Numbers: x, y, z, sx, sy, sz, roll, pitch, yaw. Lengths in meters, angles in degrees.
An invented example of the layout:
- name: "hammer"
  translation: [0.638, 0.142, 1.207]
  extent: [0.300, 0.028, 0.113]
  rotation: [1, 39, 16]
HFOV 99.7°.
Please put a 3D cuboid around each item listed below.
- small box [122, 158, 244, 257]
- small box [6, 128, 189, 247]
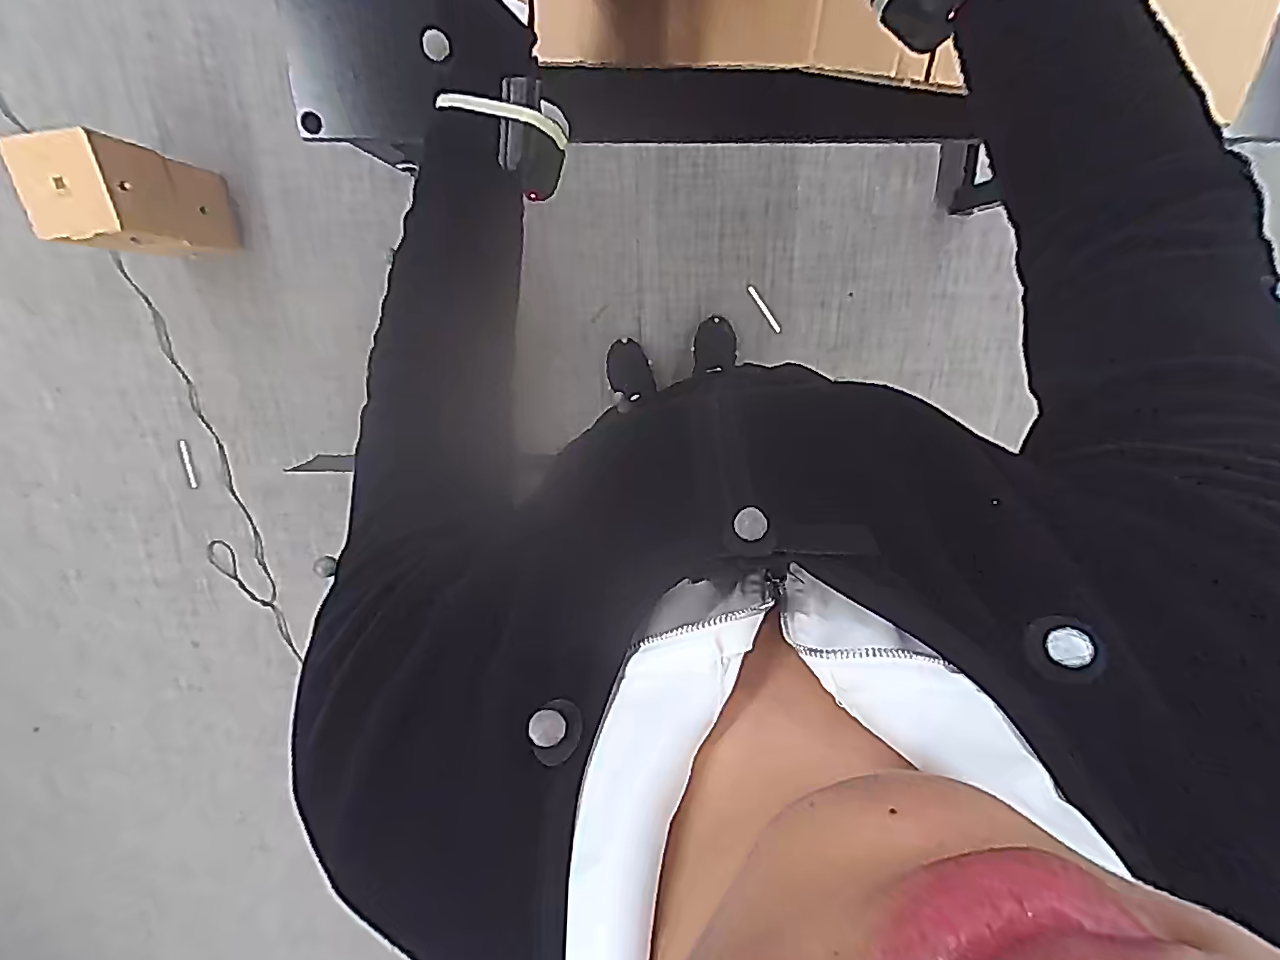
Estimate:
- name: "small box"
  translation: [-1.061, -0.615, 1.236]
  extent: [0.168, 0.176, 0.179]
  rotation: [-4, 109, 1]
- name: "small box"
  translation: [-1.062, -0.570, 1.080]
  extent: [0.168, 0.176, 0.179]
  rotation: [-7, 107, 1]
